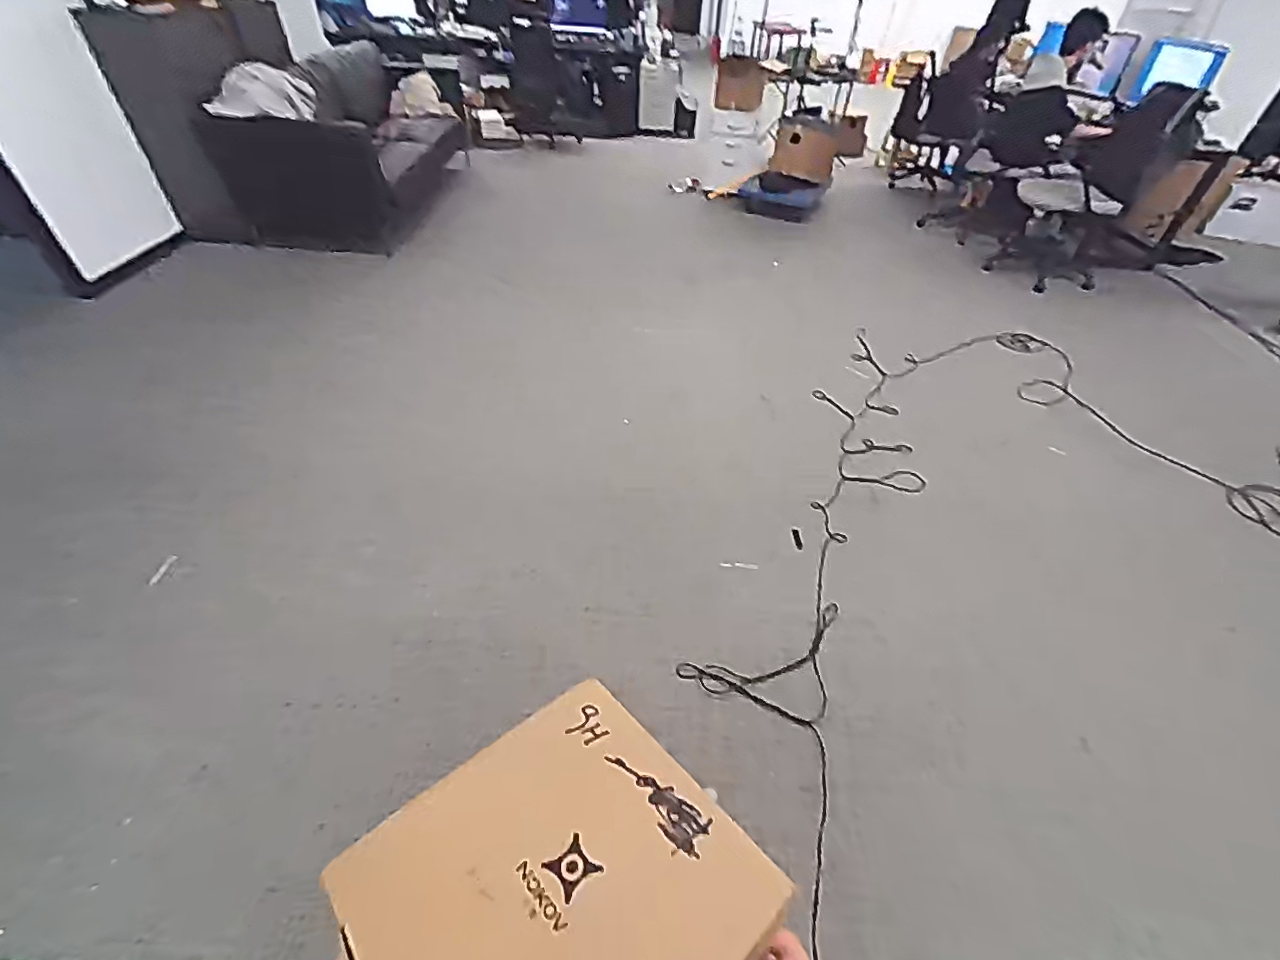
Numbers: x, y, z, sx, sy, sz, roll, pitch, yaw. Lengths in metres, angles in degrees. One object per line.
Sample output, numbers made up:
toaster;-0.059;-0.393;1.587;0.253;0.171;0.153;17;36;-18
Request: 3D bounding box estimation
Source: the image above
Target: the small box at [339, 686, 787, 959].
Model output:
small box;-0.039;0.273;0.322;0.179;0.176;0.168;-26;43;-35
